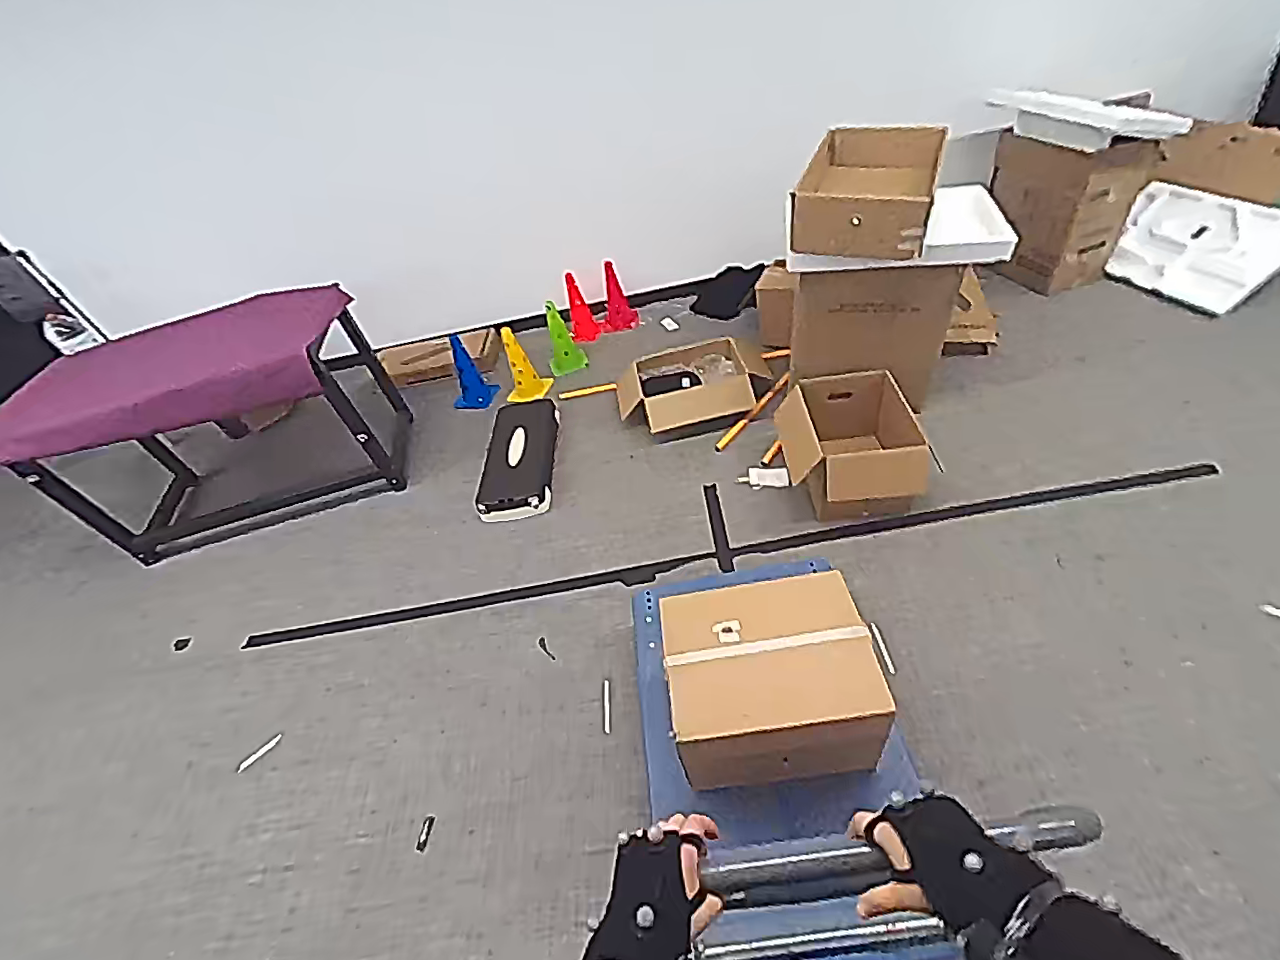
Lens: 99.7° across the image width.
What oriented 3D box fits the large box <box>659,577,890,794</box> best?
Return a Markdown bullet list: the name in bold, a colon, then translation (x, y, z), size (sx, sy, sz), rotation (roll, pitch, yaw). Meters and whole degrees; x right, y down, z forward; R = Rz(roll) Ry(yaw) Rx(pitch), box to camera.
- **large box**: translation (0.278, 0.460, 1.199), size (0.408, 0.320, 0.320), rotation (-11, 43, 5)
